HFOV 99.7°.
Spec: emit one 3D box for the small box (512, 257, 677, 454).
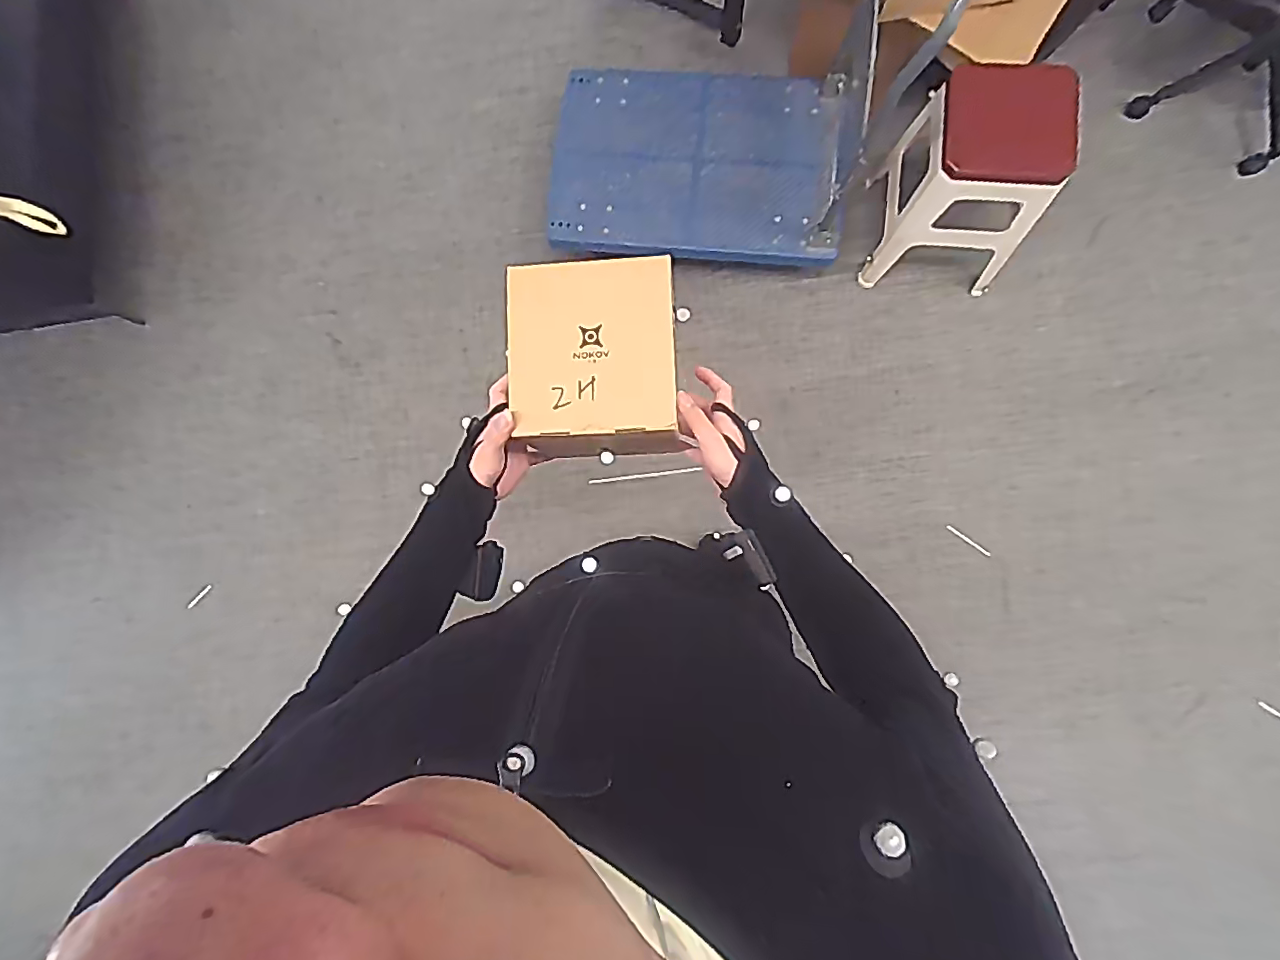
[{"bbox_3d":[-0.042,-0.129,0.618,0.168,0.176,0.179,-2,86,4],"label":"small box"}]
